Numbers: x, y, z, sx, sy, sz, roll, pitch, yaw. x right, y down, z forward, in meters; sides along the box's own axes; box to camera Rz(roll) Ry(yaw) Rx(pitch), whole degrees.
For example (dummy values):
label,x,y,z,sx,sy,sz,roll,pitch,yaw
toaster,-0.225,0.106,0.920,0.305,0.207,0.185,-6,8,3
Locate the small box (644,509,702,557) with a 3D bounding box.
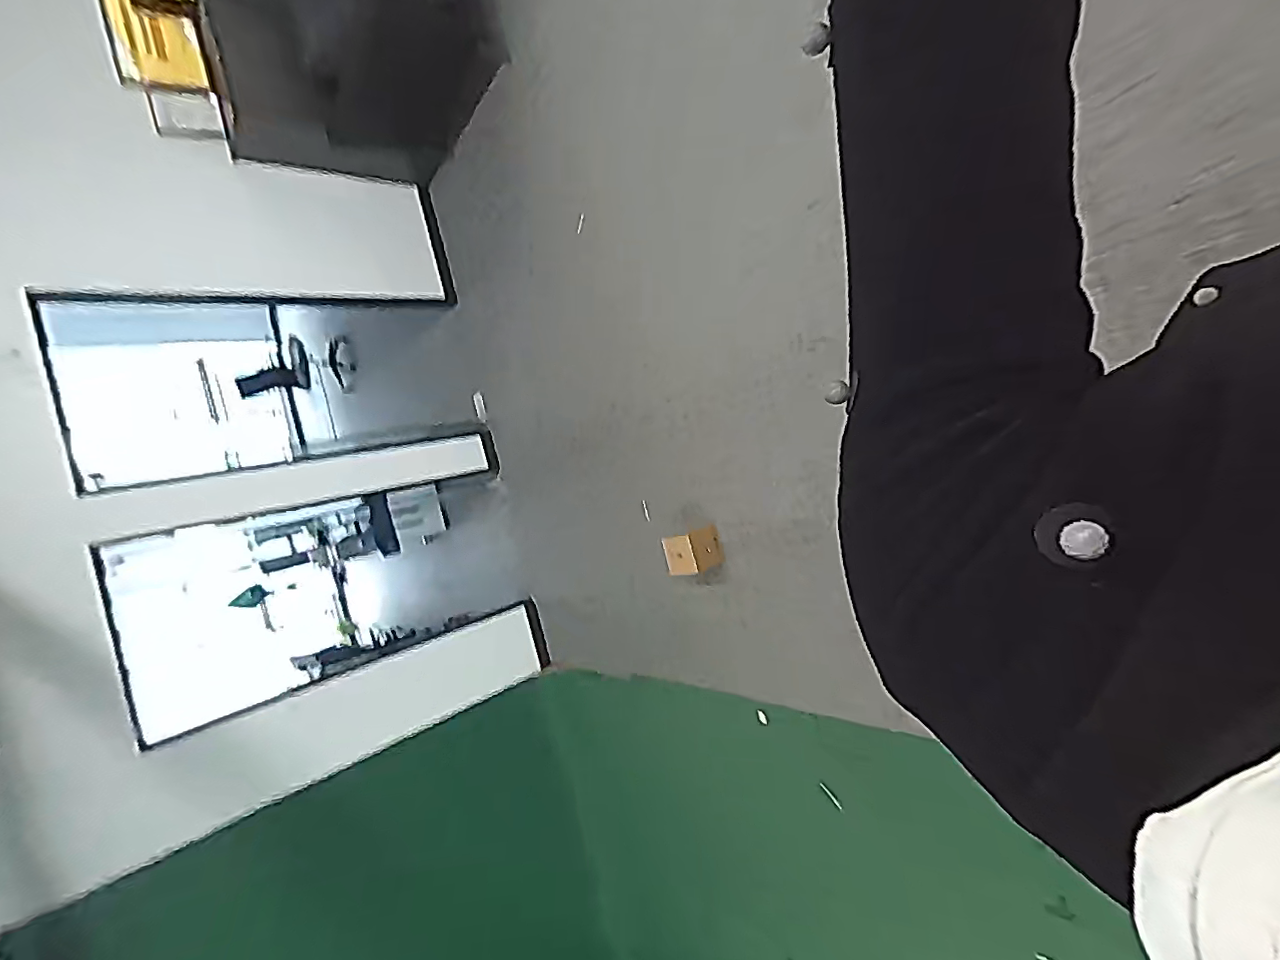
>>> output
label,x,y,z,sx,sy,sz,roll,pitch,yaw
small box,0.149,0.225,2.322,0.179,0.176,0.168,-13,92,50
